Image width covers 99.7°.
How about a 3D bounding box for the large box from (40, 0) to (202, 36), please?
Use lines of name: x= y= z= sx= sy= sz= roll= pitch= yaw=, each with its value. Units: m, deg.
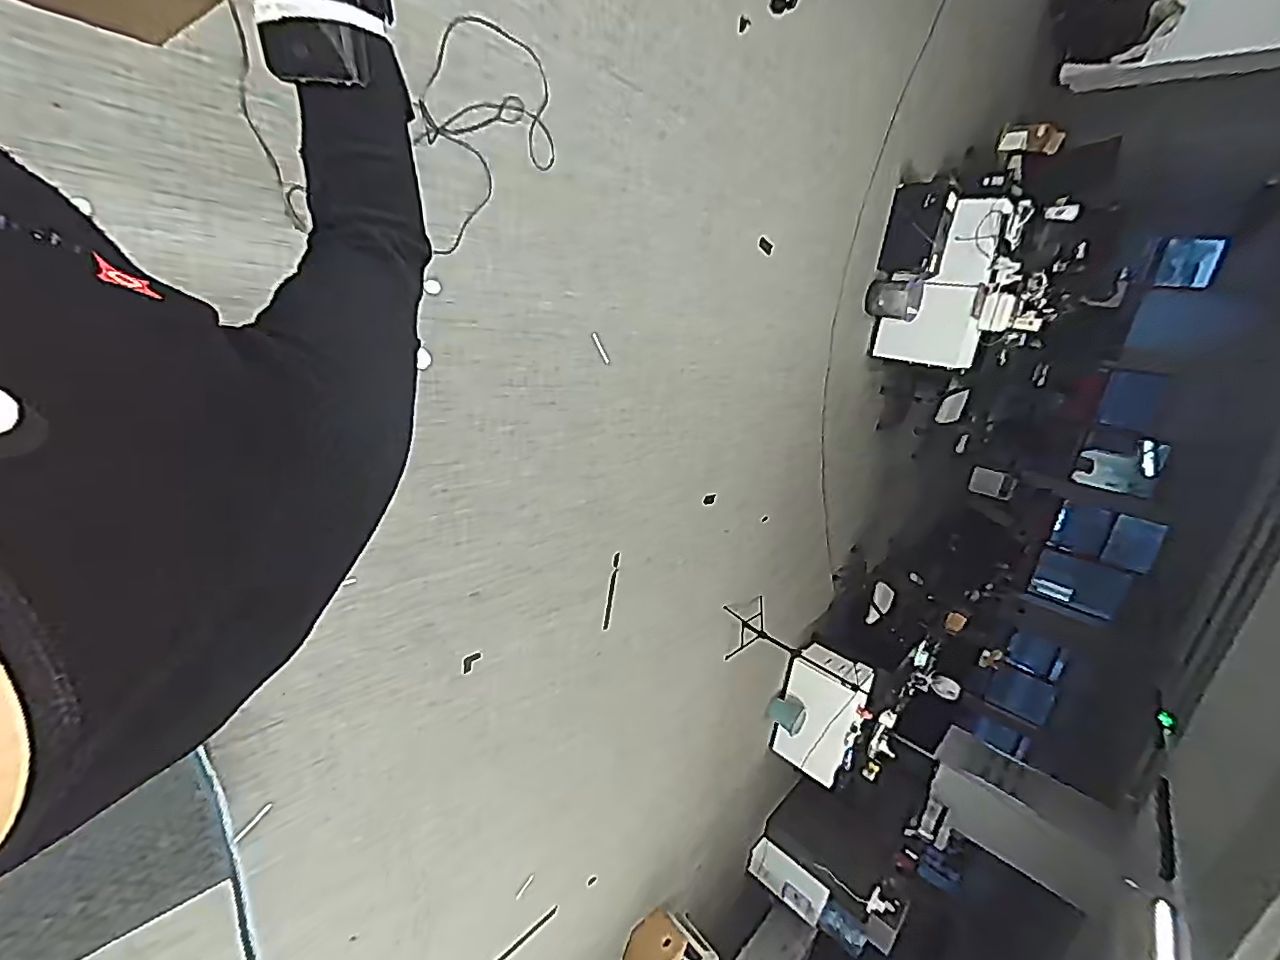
large box: x=-0.462 y=-0.480 z=0.234 sx=0.408 sy=0.320 sz=0.320 roll=-13 pitch=120 yaw=-47
